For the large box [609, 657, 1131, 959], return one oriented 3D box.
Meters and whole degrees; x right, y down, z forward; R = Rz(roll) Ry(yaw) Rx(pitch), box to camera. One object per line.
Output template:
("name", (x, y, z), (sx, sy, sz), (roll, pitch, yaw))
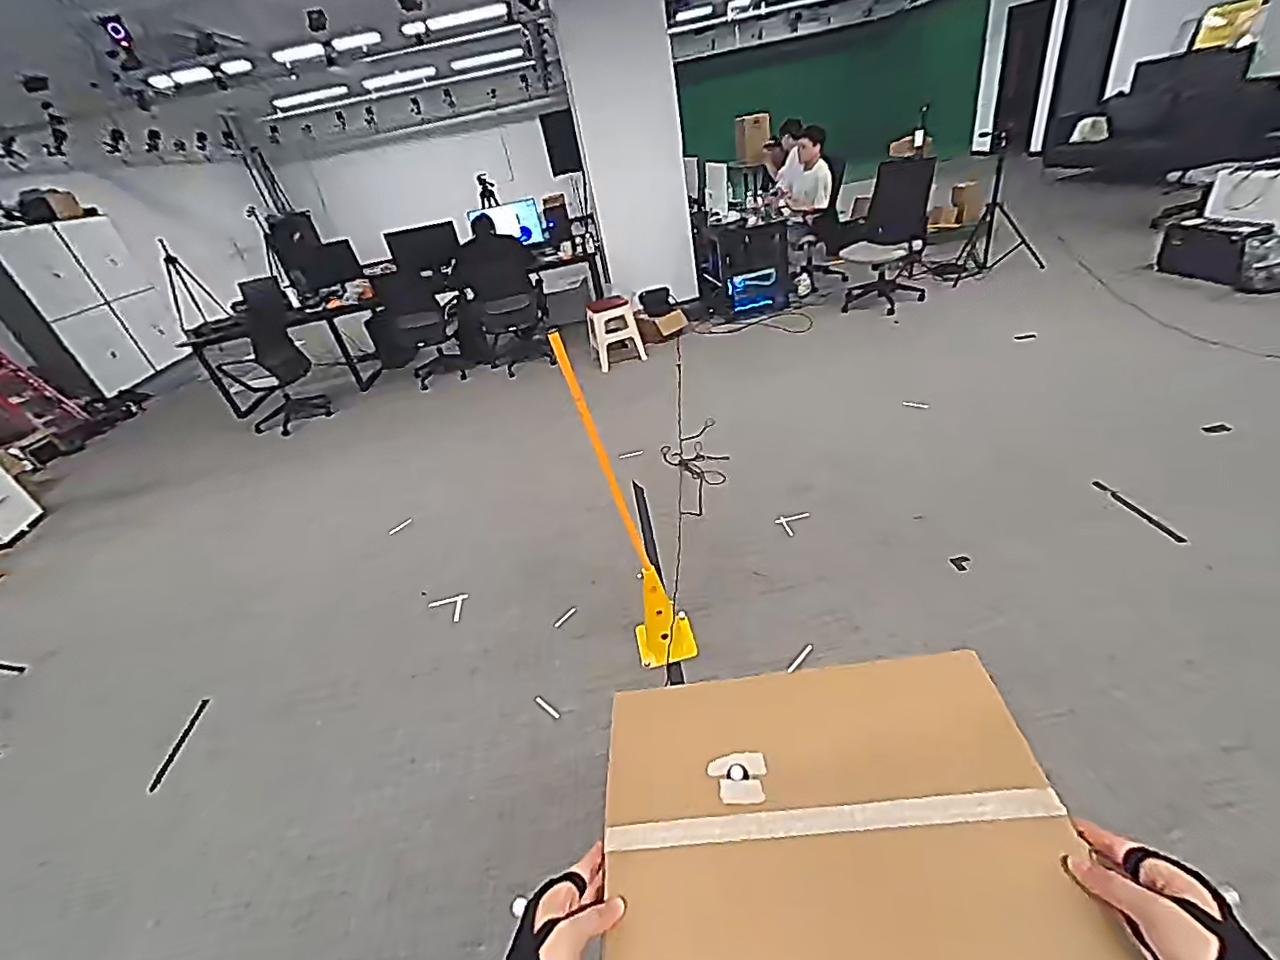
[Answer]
("large box", (0.203, 0.439, 0.590), (0.408, 0.320, 0.320), (-11, 36, 9))
